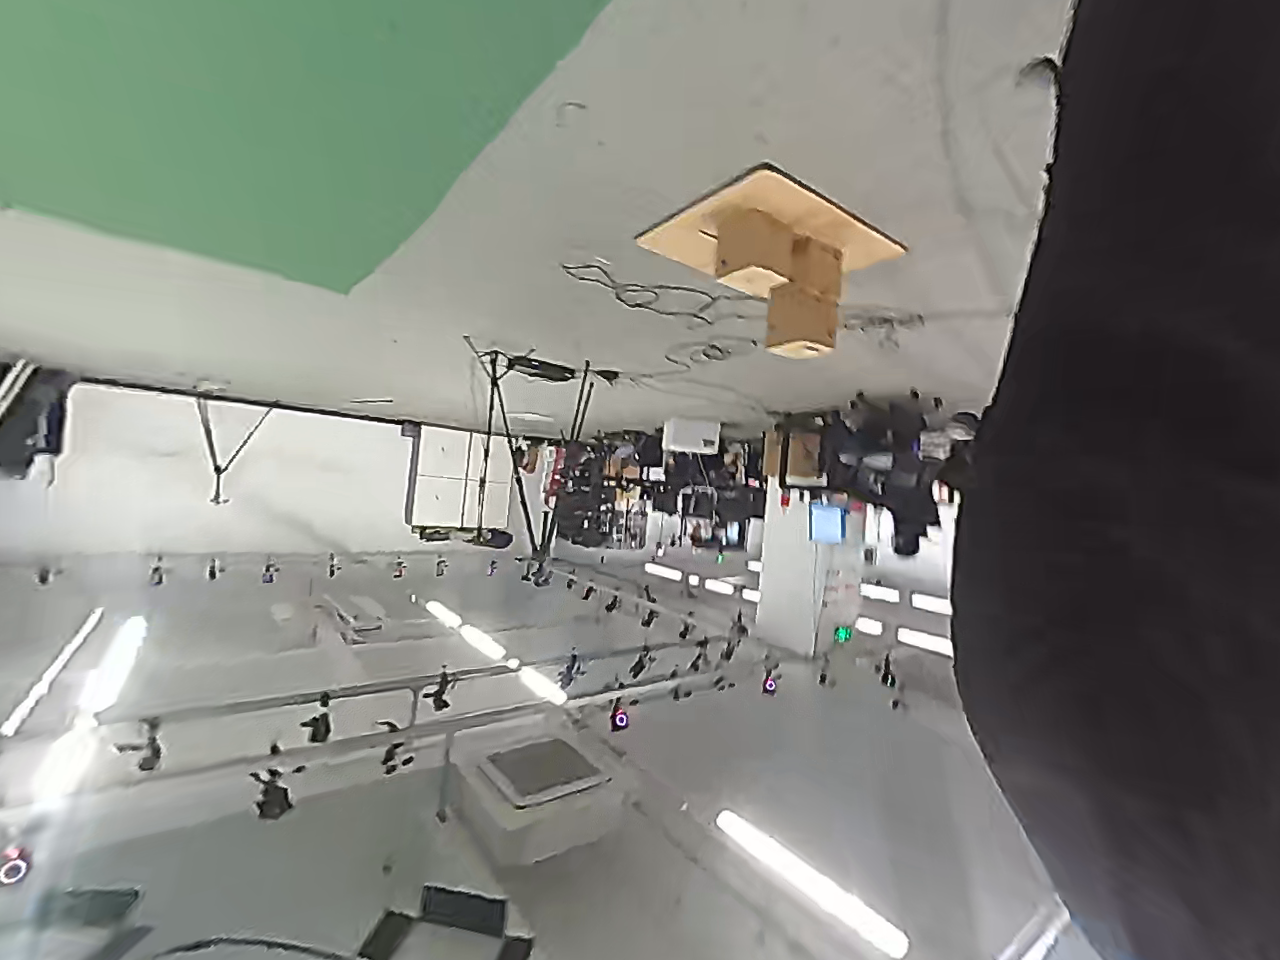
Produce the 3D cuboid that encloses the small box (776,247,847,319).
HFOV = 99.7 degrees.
[{"bbox_3d":[0.588,-0.671,1.849,0.168,0.176,0.179,6,179,-31],"label":"small box"}]

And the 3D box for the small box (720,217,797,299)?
[{"bbox_3d":[0.378,-0.698,1.714,0.168,0.176,0.179,5,178,-35],"label":"small box"}]
